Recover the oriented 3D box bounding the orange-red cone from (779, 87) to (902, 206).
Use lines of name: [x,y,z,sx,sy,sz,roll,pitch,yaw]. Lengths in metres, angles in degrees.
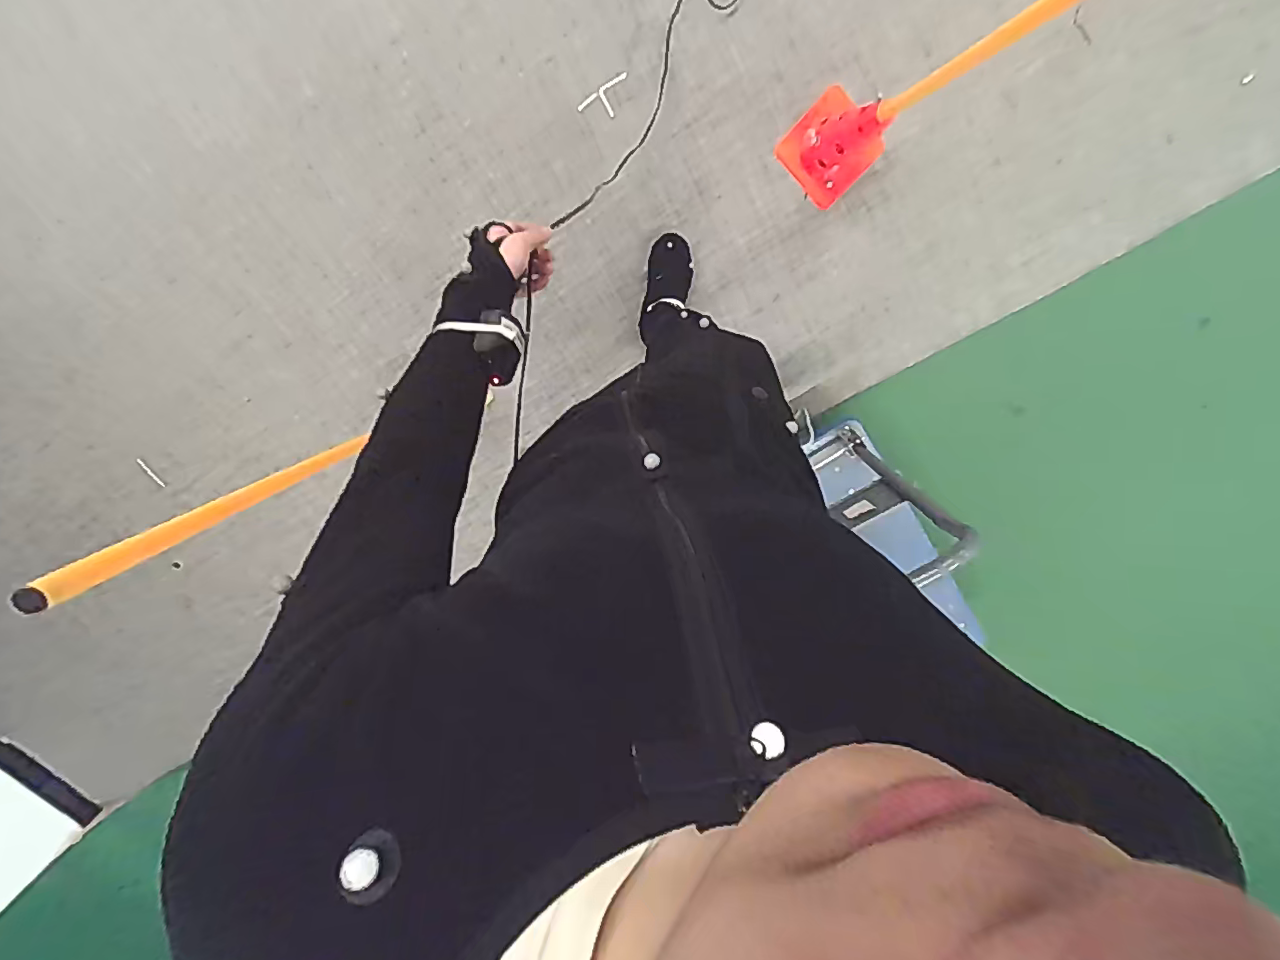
orange-red cone: [0.463,-0.742,1.152,0.198,0.360,0.199,43,105,-15]
